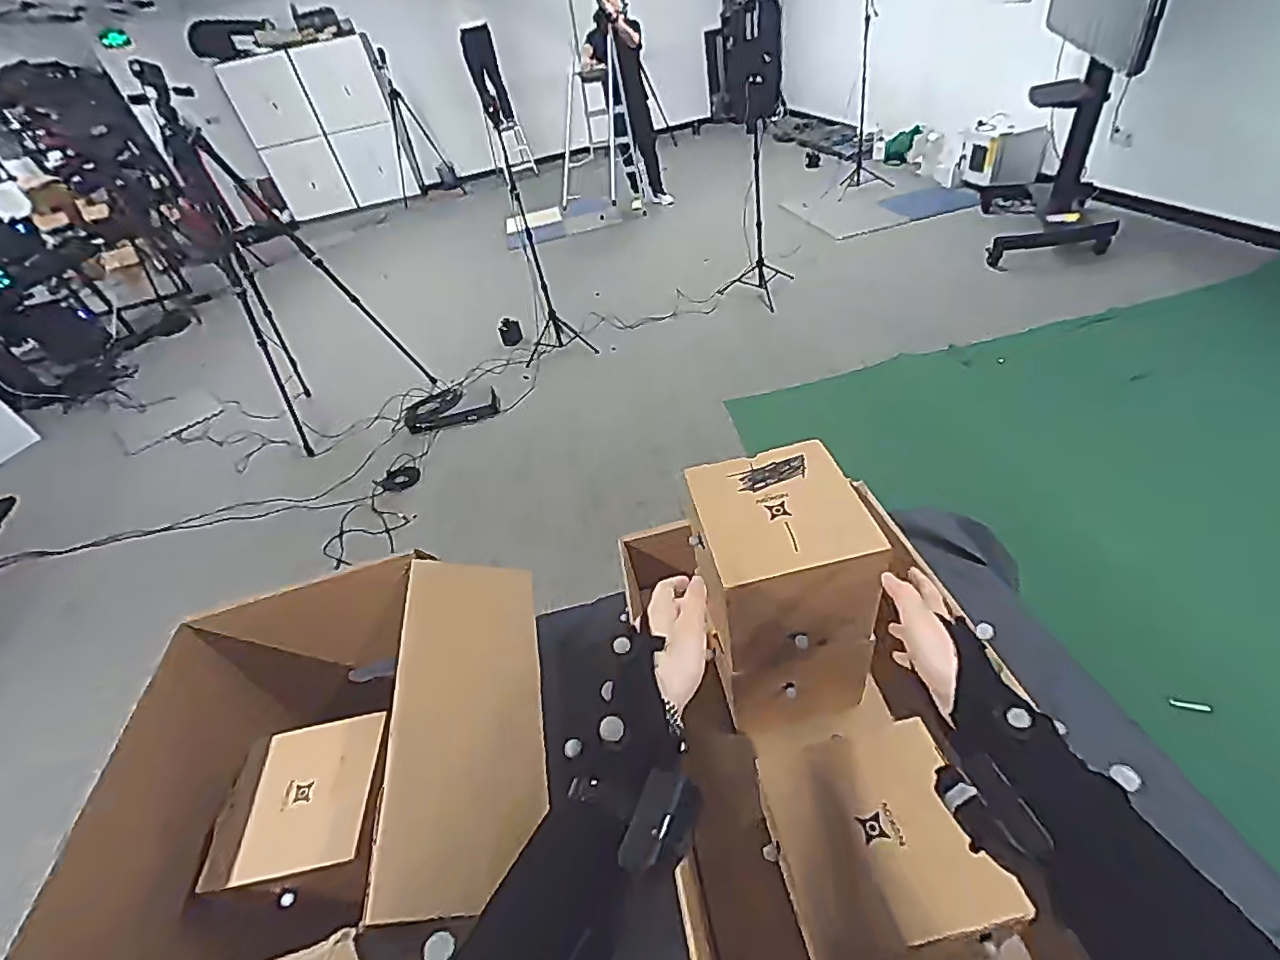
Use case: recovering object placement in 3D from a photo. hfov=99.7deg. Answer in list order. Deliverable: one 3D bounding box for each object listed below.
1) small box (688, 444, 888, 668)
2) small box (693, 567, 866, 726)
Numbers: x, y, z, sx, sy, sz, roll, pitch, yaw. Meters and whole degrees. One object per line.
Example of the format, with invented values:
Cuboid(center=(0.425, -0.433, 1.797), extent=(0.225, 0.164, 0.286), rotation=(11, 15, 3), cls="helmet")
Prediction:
Cuboid(center=(0.157, 0.088, 0.630), extent=(0.168, 0.176, 0.179), rotation=(-13, 44, 0), cls="small box")
Cuboid(center=(0.184, 0.211, 0.738), extent=(0.179, 0.176, 0.168), rotation=(-14, 44, 0), cls="small box")
